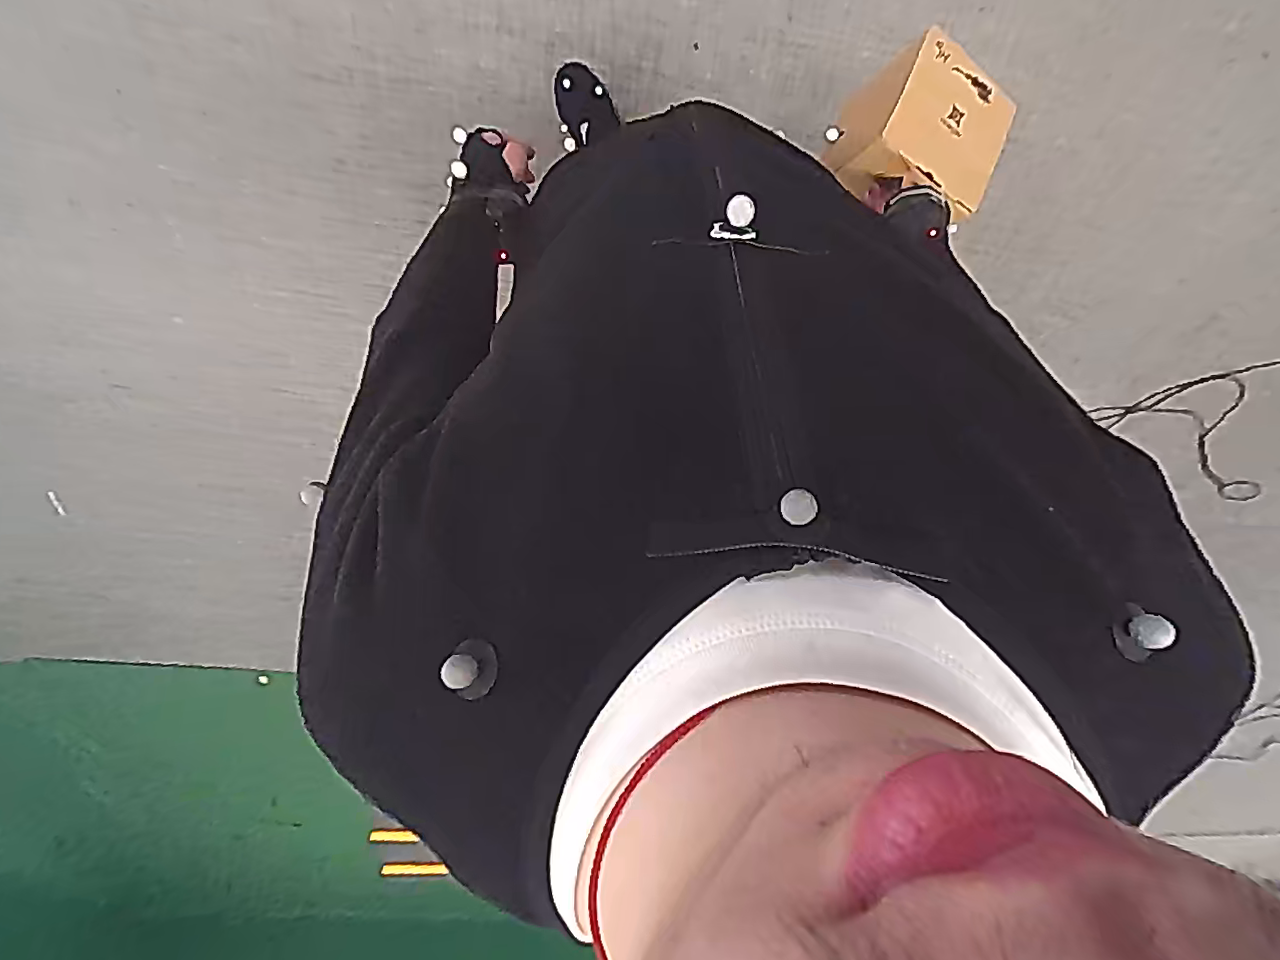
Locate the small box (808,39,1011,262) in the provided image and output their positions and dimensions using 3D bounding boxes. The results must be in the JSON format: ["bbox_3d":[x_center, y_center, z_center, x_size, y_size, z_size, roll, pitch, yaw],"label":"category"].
[{"bbox_3d":[0.367,-0.445,0.765,0.168,0.176,0.179,24,83,-13],"label":"small box"}]
